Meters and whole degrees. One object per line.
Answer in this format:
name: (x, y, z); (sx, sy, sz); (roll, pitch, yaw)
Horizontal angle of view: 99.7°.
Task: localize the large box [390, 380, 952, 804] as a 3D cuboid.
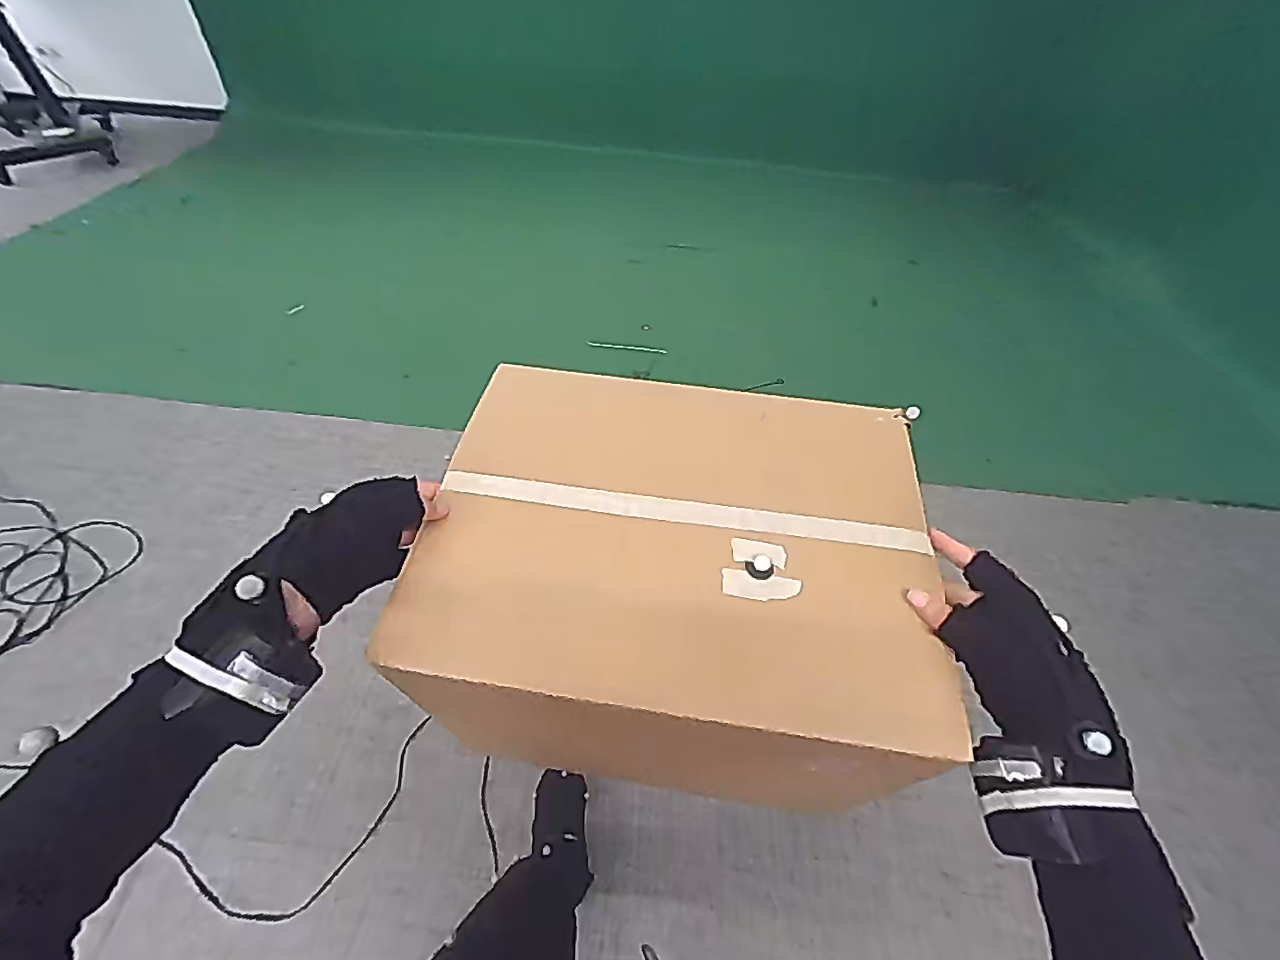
large box: (0.031, 0.125, 0.581); (0.408, 0.320, 0.320); (7, 53, 5)
